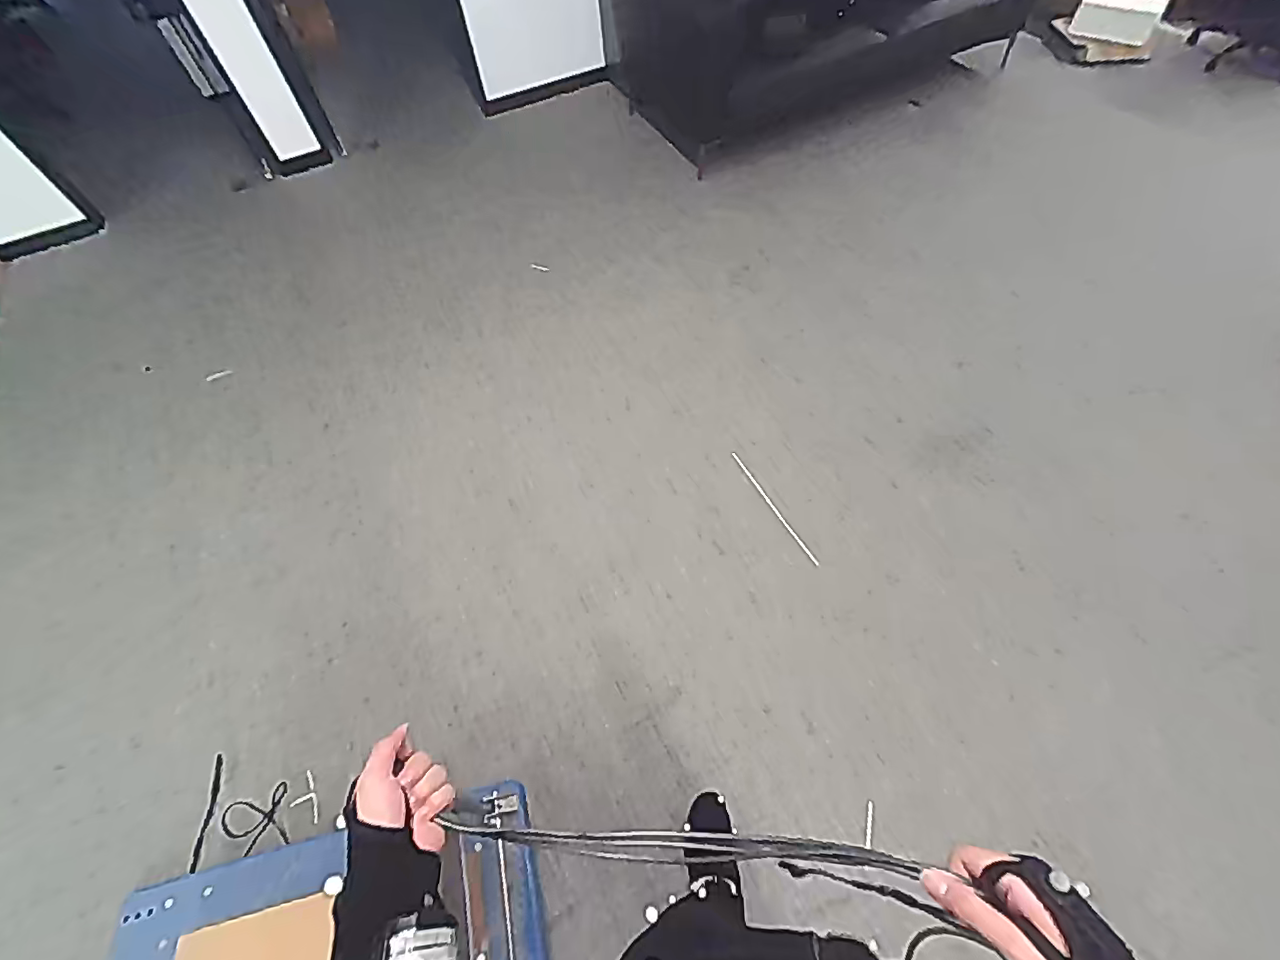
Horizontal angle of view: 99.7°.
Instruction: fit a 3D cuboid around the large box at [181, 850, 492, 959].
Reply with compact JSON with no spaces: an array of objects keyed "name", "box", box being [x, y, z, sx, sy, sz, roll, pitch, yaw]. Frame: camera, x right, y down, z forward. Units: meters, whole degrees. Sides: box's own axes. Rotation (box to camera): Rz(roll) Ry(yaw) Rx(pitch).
[{"name":"large box","box":[-0.501,0.895,0.944,0.408,0.320,0.320,-15,58,-4]}]
